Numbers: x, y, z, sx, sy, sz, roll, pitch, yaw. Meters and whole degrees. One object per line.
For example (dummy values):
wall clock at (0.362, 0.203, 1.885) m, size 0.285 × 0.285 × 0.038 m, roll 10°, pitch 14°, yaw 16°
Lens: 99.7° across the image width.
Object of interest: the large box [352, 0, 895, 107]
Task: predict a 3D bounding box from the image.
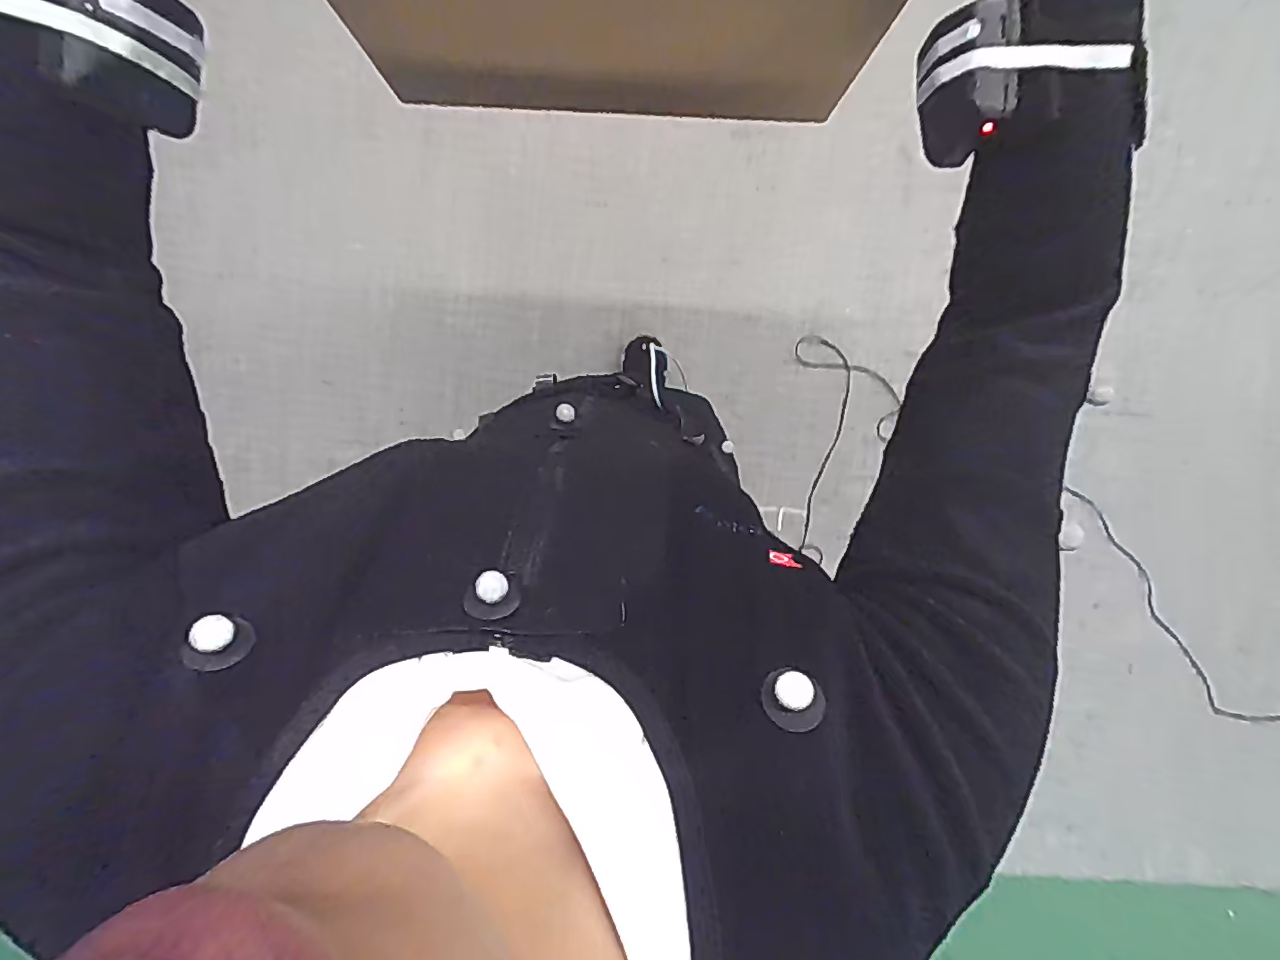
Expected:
large box at (-0.011, -0.490, 0.349) m, size 0.408 × 0.320 × 0.320 m, roll 1°, pitch 98°, yaw -3°
